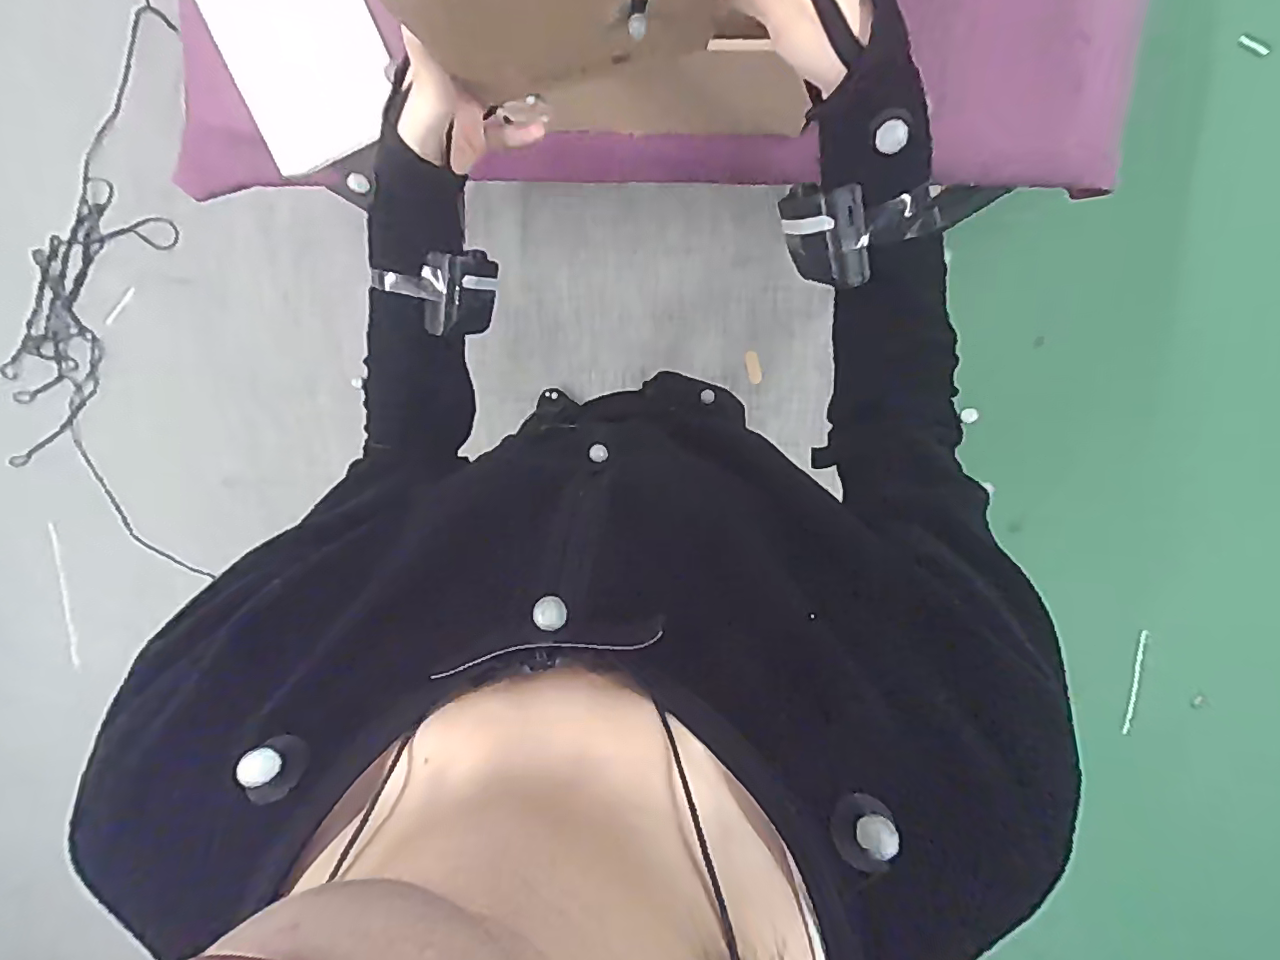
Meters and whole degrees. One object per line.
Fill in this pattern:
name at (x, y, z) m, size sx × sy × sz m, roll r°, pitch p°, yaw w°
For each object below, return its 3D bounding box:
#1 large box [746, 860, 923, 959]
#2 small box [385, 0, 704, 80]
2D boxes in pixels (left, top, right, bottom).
large box at (0.544, 1.349, 1.514) m, size 0.408 × 0.320 × 0.320 m, roll -13°, pitch 98°, yaw 4°
small box at (-0.055, -0.341, 0.277) m, size 0.168 × 0.176 × 0.179 m, roll -9°, pitch 108°, yaw 6°
